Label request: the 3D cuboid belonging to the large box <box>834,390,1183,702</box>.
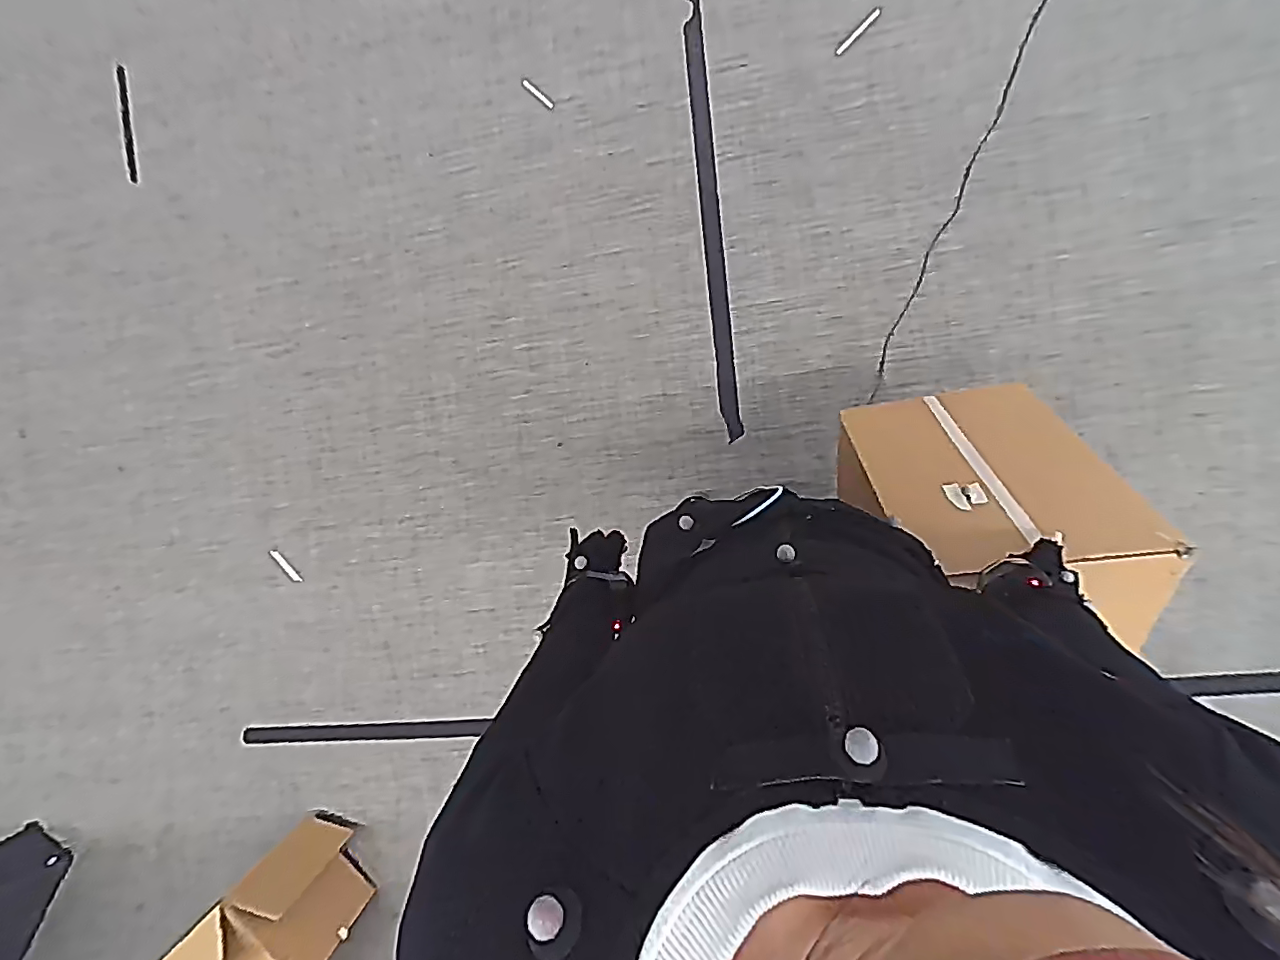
[{"bbox_3d":[0.531,0.101,0.905,0.320,0.408,0.320,-9,129,10],"label":"large box"}]
